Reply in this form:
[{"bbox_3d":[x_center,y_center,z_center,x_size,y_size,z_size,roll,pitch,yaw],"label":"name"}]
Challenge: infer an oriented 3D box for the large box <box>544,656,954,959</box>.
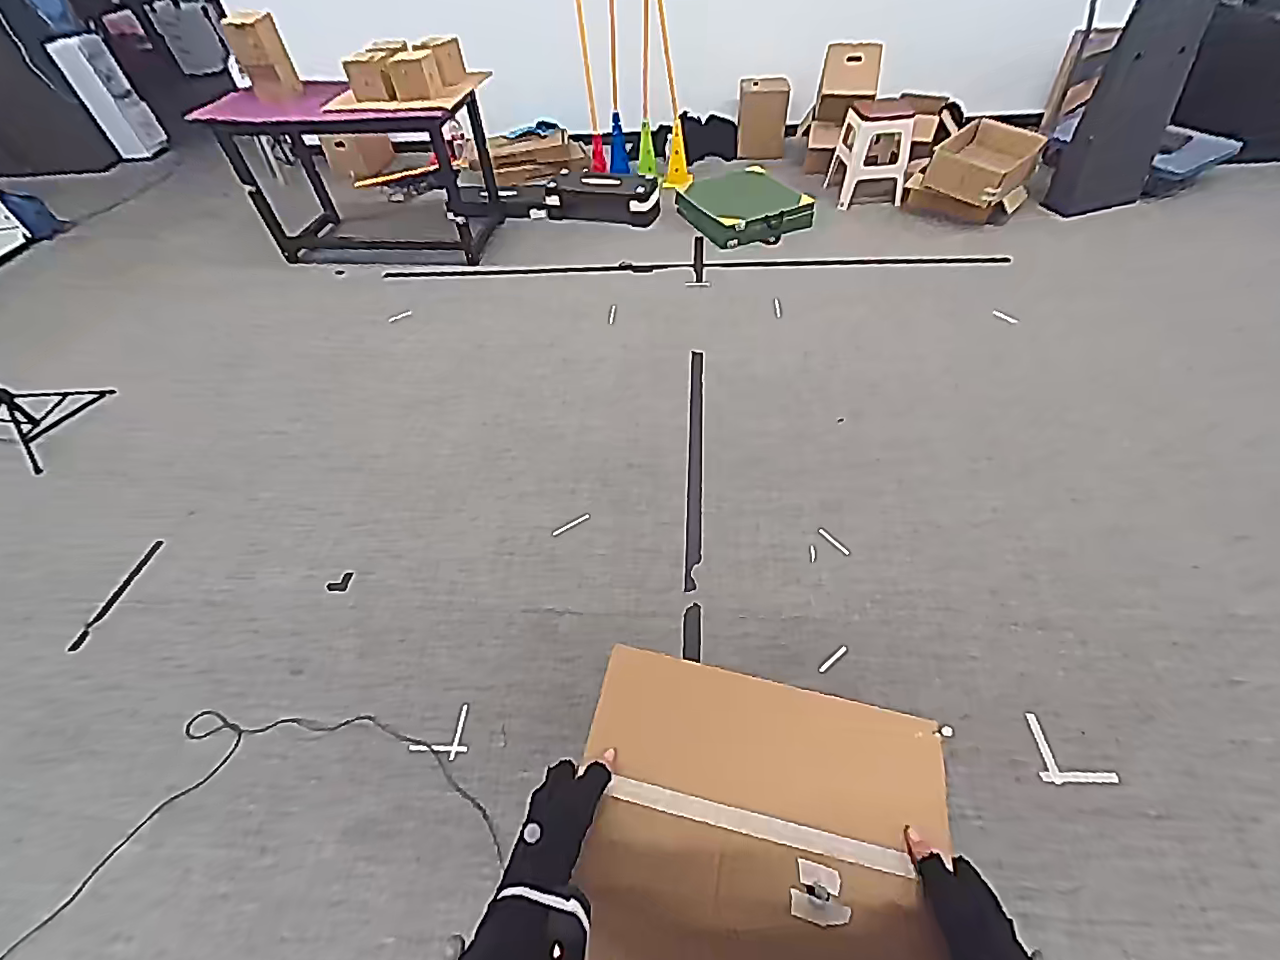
[{"bbox_3d":[0.126,0.471,0.708,0.408,0.320,0.320,12,55,7],"label":"large box"}]
